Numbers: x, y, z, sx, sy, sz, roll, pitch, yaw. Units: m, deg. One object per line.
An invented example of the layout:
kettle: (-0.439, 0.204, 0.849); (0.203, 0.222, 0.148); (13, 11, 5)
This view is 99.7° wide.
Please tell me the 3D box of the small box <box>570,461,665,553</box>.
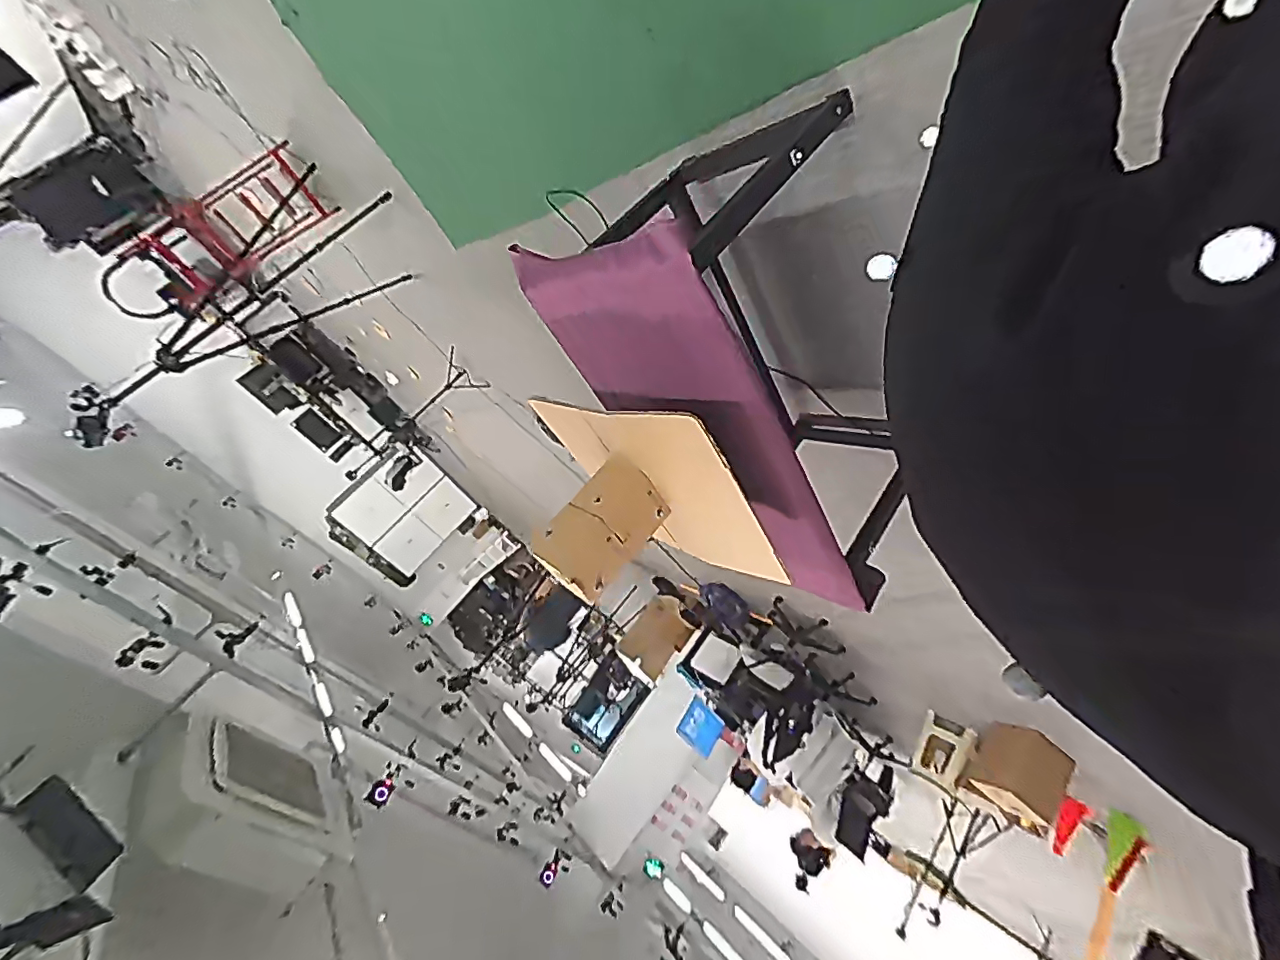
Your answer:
small box: (-0.054, 0.067, 1.491); (0.179, 0.176, 0.168); (19, 151, 50)
